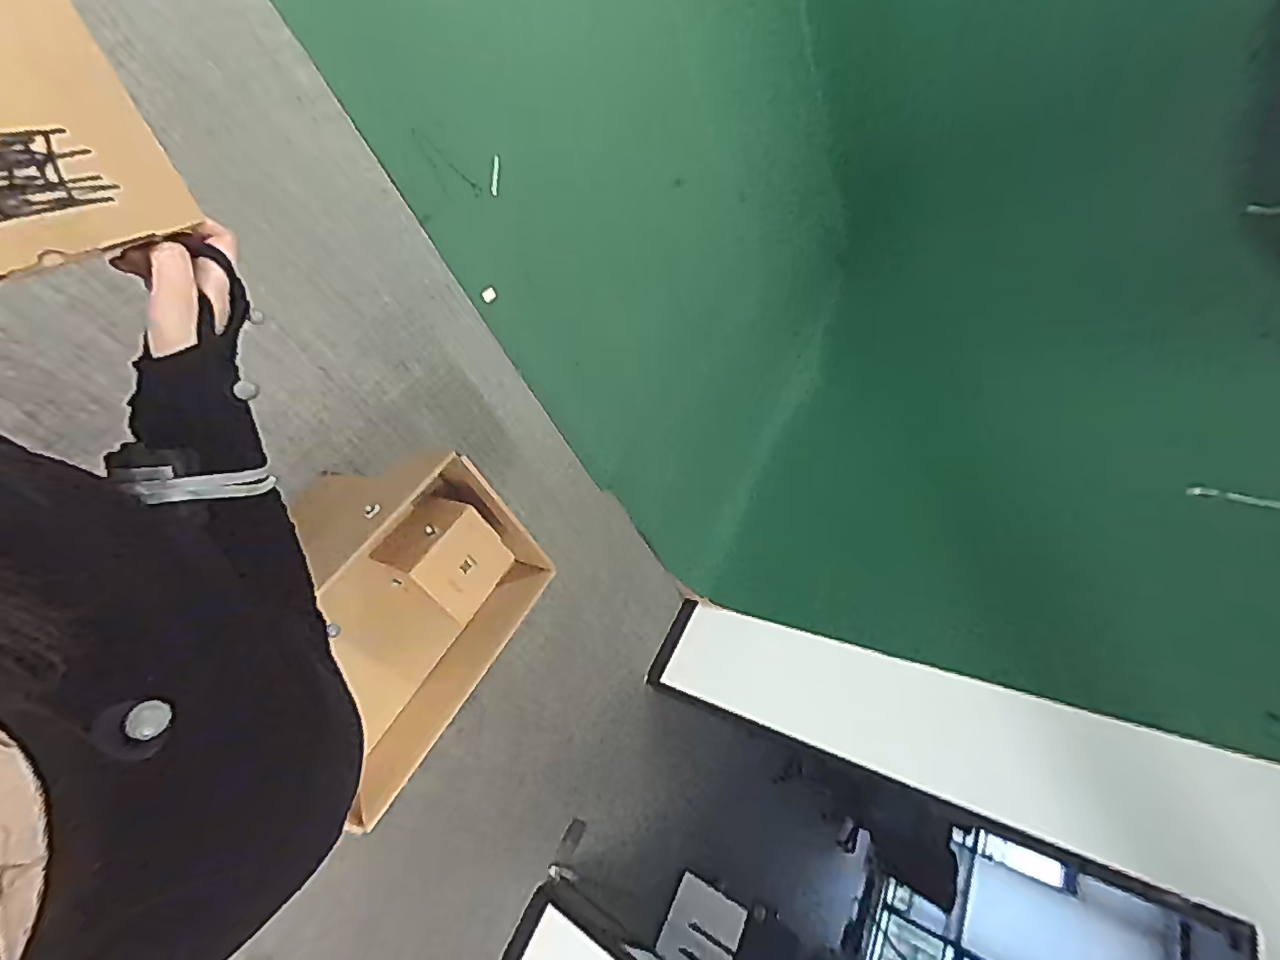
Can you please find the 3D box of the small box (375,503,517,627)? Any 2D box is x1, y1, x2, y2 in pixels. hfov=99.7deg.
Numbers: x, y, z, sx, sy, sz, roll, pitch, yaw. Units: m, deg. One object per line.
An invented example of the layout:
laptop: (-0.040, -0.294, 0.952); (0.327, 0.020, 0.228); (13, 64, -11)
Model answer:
small box: (-0.394, 0.164, 1.100); (0.179, 0.176, 0.168); (-55, 133, -32)
